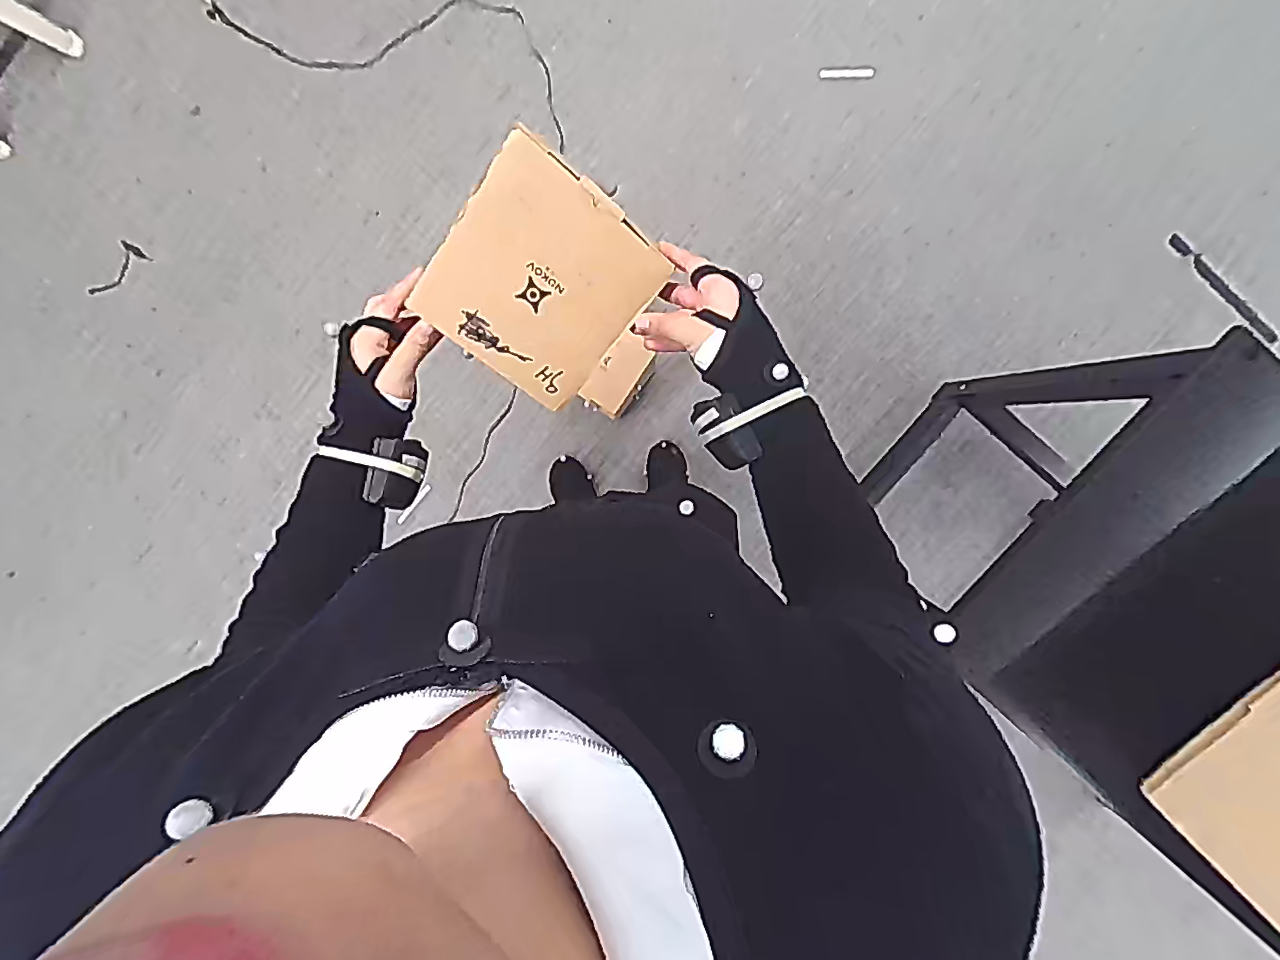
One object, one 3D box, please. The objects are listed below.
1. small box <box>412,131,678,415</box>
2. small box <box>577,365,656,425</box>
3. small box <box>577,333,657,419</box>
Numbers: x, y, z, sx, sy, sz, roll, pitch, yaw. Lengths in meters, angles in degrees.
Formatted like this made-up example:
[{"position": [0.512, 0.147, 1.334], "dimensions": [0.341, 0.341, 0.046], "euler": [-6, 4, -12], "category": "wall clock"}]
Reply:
[{"position": [-0.089, -0.203, 0.535], "dimensions": [0.168, 0.176, 0.179], "euler": [35, 111, -21], "category": "small box"}, {"position": [-0.076, -0.259, 1.389], "dimensions": [0.168, 0.176, 0.179], "euler": [37, 95, -2], "category": "small box"}, {"position": [-0.076, -0.252, 1.227], "dimensions": [0.168, 0.176, 0.179], "euler": [34, 93, -3], "category": "small box"}]
